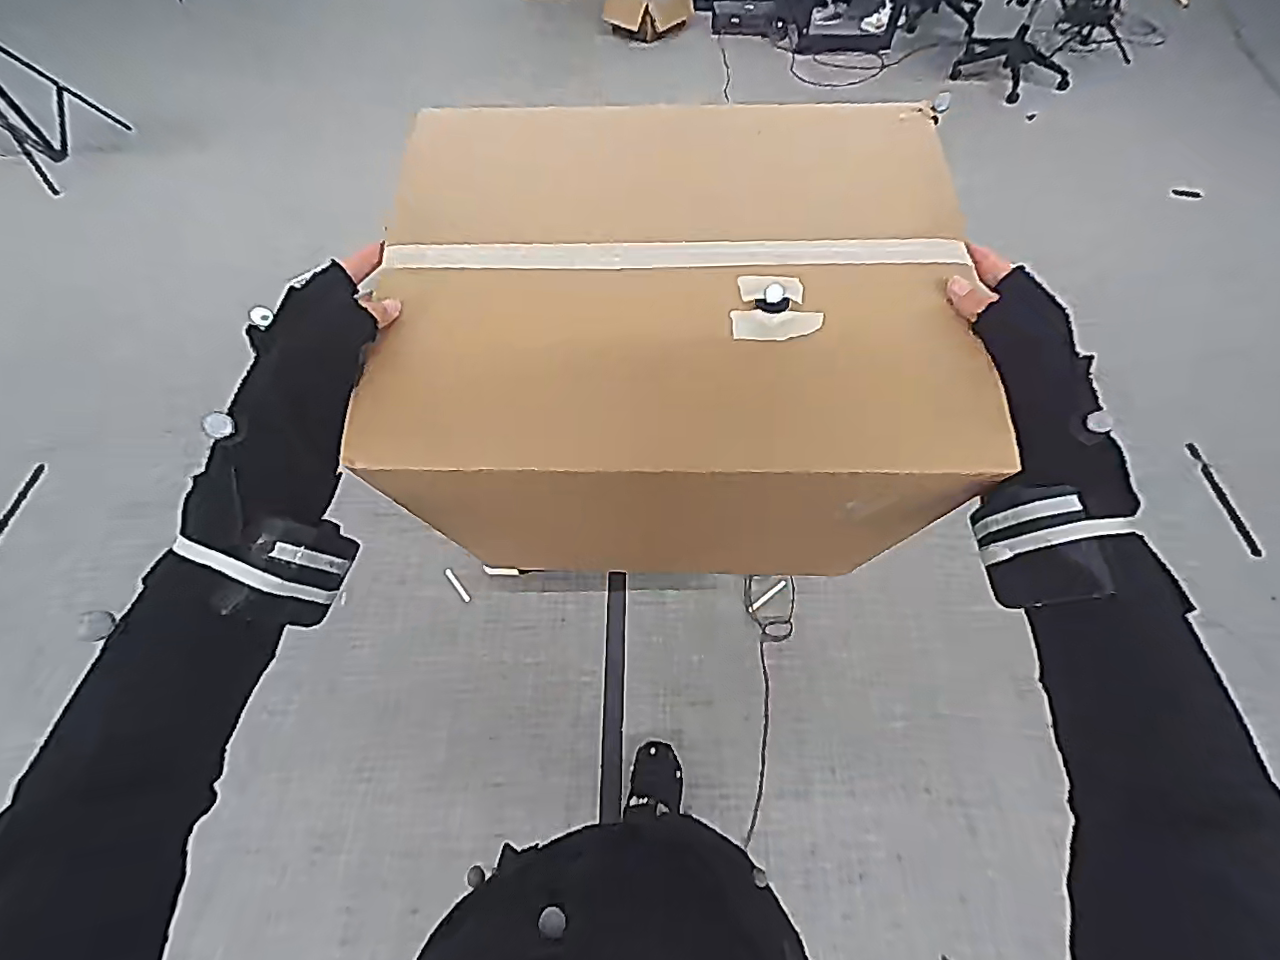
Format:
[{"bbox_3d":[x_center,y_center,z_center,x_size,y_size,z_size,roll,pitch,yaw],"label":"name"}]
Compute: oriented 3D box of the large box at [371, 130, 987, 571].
[{"bbox_3d":[0.025,-0.095,0.537,0.408,0.320,0.320,0,69,2],"label":"large box"}]
